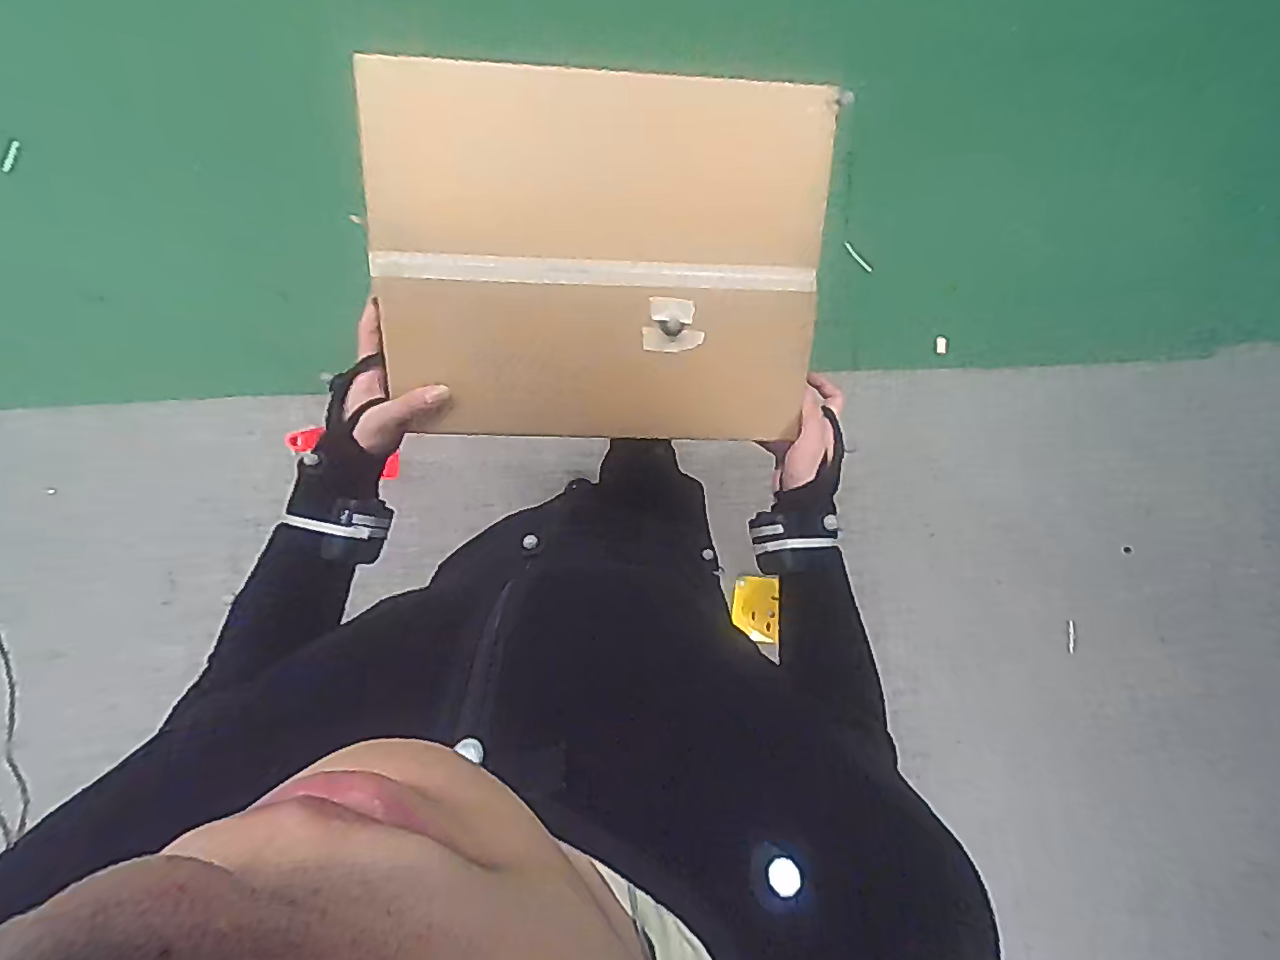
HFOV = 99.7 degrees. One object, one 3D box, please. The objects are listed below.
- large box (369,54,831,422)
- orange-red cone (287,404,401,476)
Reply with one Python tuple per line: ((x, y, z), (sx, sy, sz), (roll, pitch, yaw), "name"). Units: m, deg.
((-0.043, -0.251, 0.647), (0.408, 0.320, 0.320), (0, 109, -5), "large box")
((-0.793, -0.108, 1.399), (0.199, 0.360, 0.198), (4, 92, -2), "orange-red cone")
